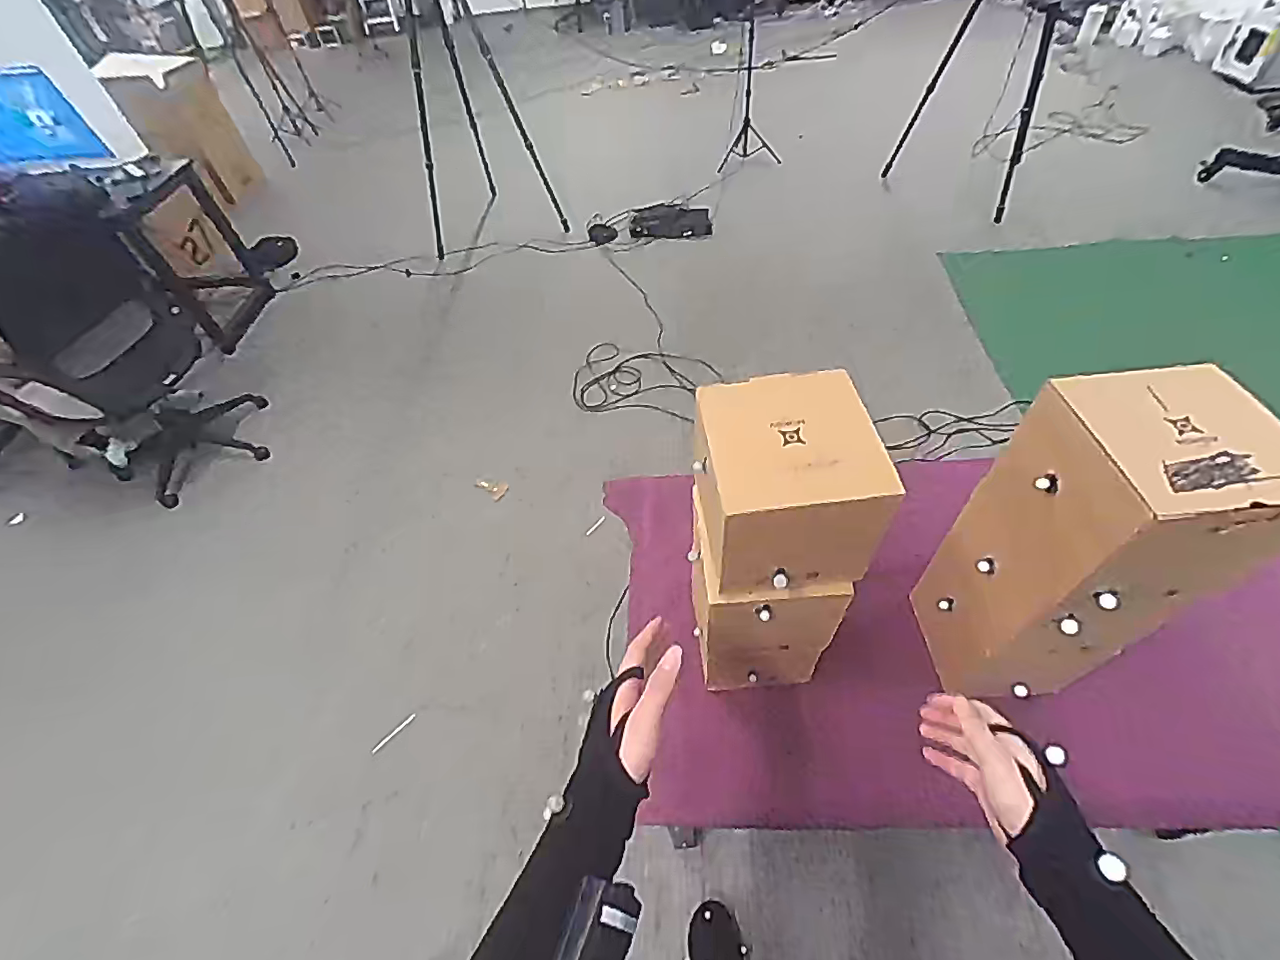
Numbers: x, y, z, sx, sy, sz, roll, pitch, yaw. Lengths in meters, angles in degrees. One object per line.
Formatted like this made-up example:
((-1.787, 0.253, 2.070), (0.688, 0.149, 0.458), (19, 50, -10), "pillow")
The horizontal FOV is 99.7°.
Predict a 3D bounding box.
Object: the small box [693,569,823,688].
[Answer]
((0.173, 0.206, 0.849), (0.168, 0.176, 0.179), (-6, 51, 1), "small box")

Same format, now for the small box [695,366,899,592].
((0.150, 0.002, 0.594), (0.168, 0.176, 0.179), (-6, 52, 2), "small box")

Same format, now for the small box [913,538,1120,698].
((0.534, 0.206, 0.803), (0.168, 0.176, 0.179), (-4, 50, 4), "small box")

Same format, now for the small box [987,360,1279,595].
((0.496, 0.005, 0.546), (0.168, 0.176, 0.179), (-5, 49, 3), "small box")

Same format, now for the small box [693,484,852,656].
((0.158, 0.114, 0.714), (0.168, 0.176, 0.179), (-5, 51, 3), "small box")
